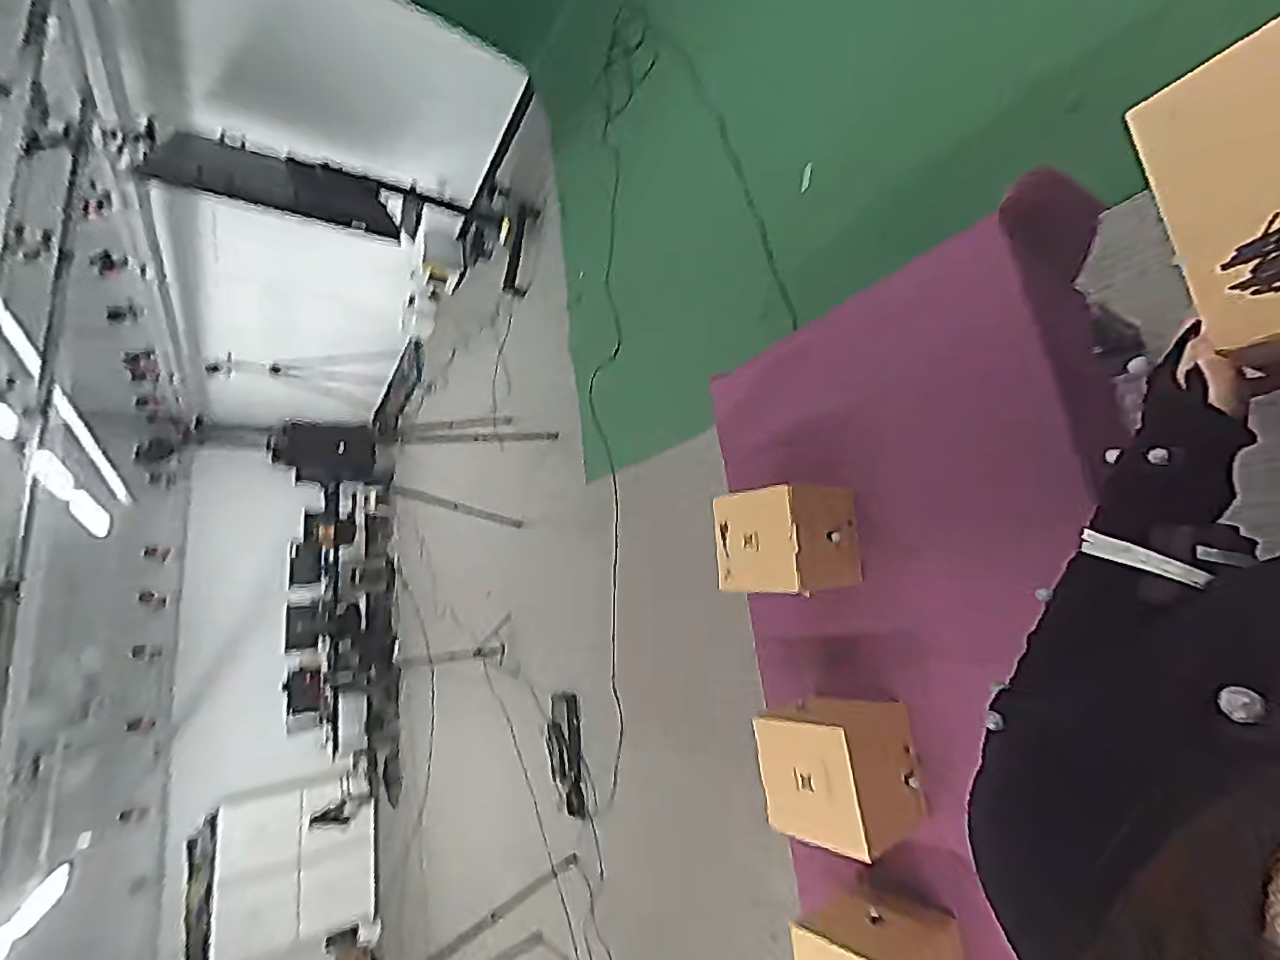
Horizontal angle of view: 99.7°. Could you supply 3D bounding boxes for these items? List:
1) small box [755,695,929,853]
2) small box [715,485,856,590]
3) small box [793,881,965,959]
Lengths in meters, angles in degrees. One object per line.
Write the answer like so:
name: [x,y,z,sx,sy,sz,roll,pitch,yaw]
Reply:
small box: [0.311,0.439,0.844,0.179,0.176,0.168,-24,69,52]
small box: [0.256,0.099,0.942,0.179,0.176,0.168,-15,76,53]
small box: [0.348,0.714,0.767,0.168,0.176,0.179,-25,68,52]
